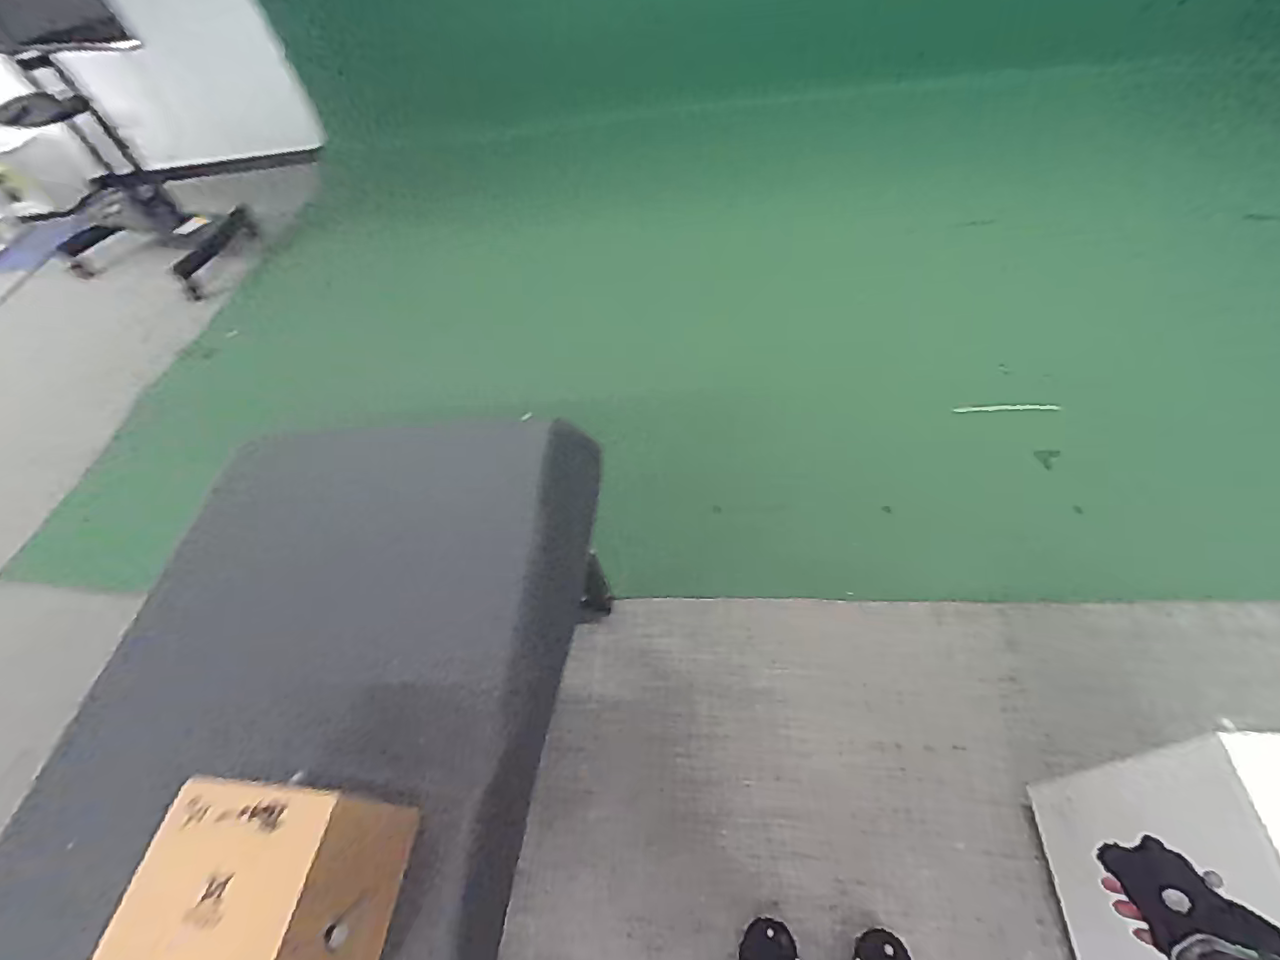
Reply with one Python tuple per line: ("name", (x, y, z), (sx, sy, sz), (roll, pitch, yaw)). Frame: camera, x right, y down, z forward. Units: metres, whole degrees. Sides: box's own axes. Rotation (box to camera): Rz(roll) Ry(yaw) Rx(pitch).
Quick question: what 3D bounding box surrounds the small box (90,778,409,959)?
("small box", (-0.355, 0.403, 0.522), (0.168, 0.176, 0.179), (0, 55, 10))
